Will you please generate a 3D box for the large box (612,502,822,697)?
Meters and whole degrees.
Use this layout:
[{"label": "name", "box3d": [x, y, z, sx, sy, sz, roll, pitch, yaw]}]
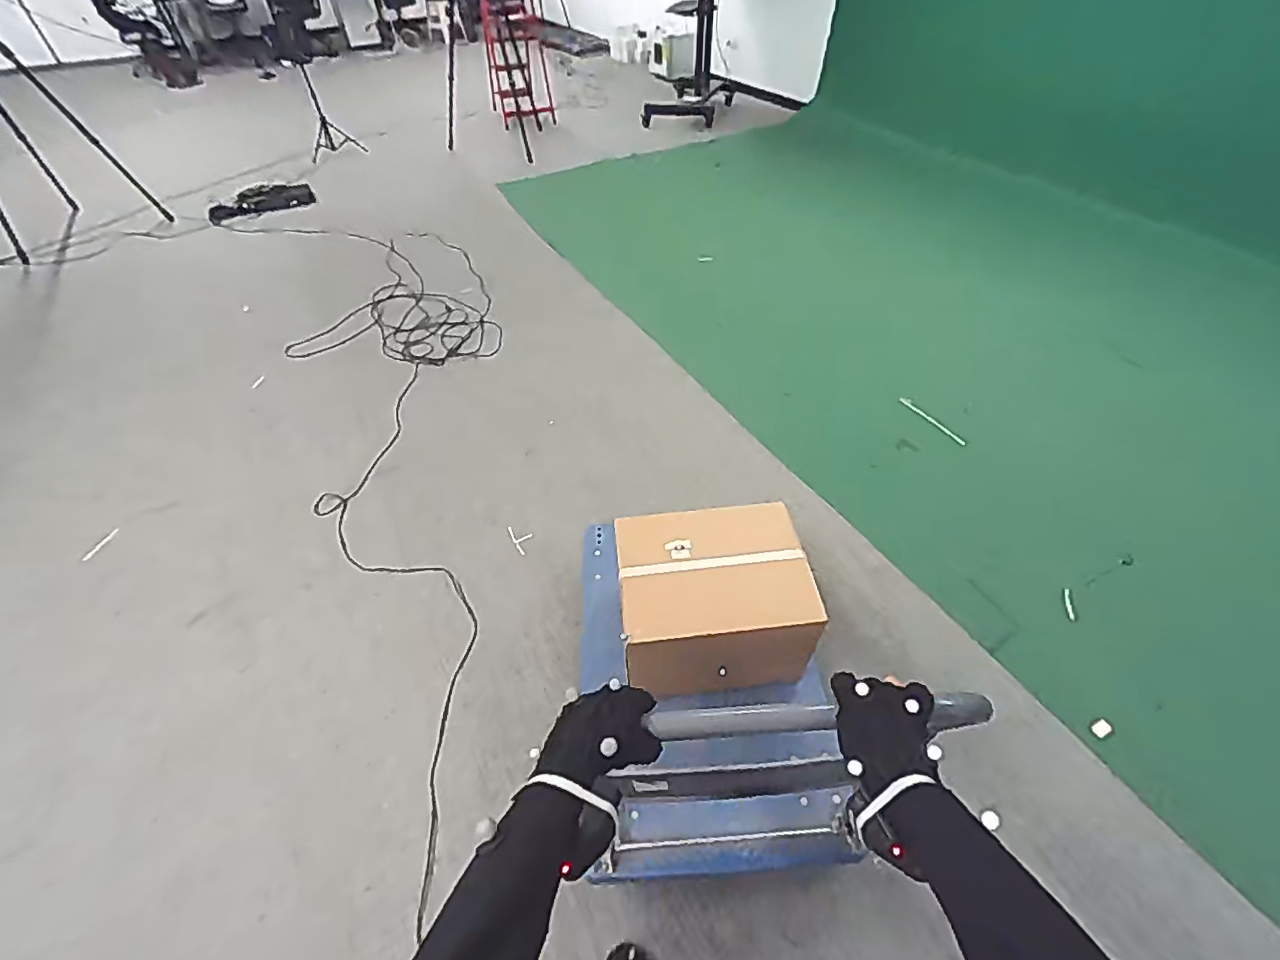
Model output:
[{"label": "large box", "box3d": [0.156, 0.285, 1.277, 0.408, 0.320, 0.320, -6, 48, -3]}]
